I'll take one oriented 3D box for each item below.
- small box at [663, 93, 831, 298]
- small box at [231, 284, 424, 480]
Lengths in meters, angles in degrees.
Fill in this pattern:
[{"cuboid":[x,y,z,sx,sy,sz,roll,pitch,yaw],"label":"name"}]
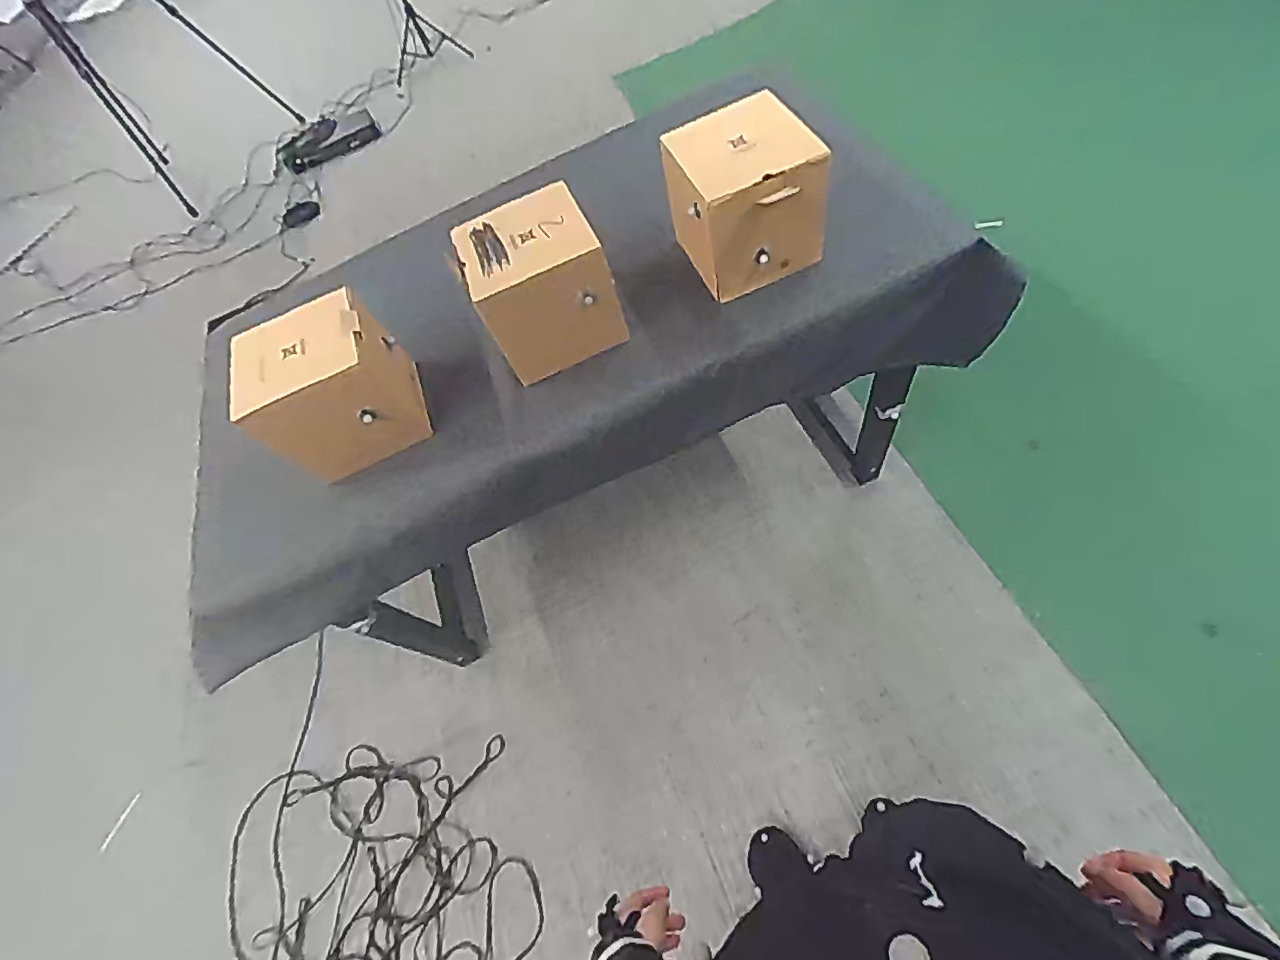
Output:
[{"cuboid":[0.147,-0.399,0.772,0.168,0.176,0.179,-23,60,0],"label":"small box"},{"cuboid":[-0.427,-0.131,0.761,0.179,0.176,0.168,-26,58,-1],"label":"small box"}]
